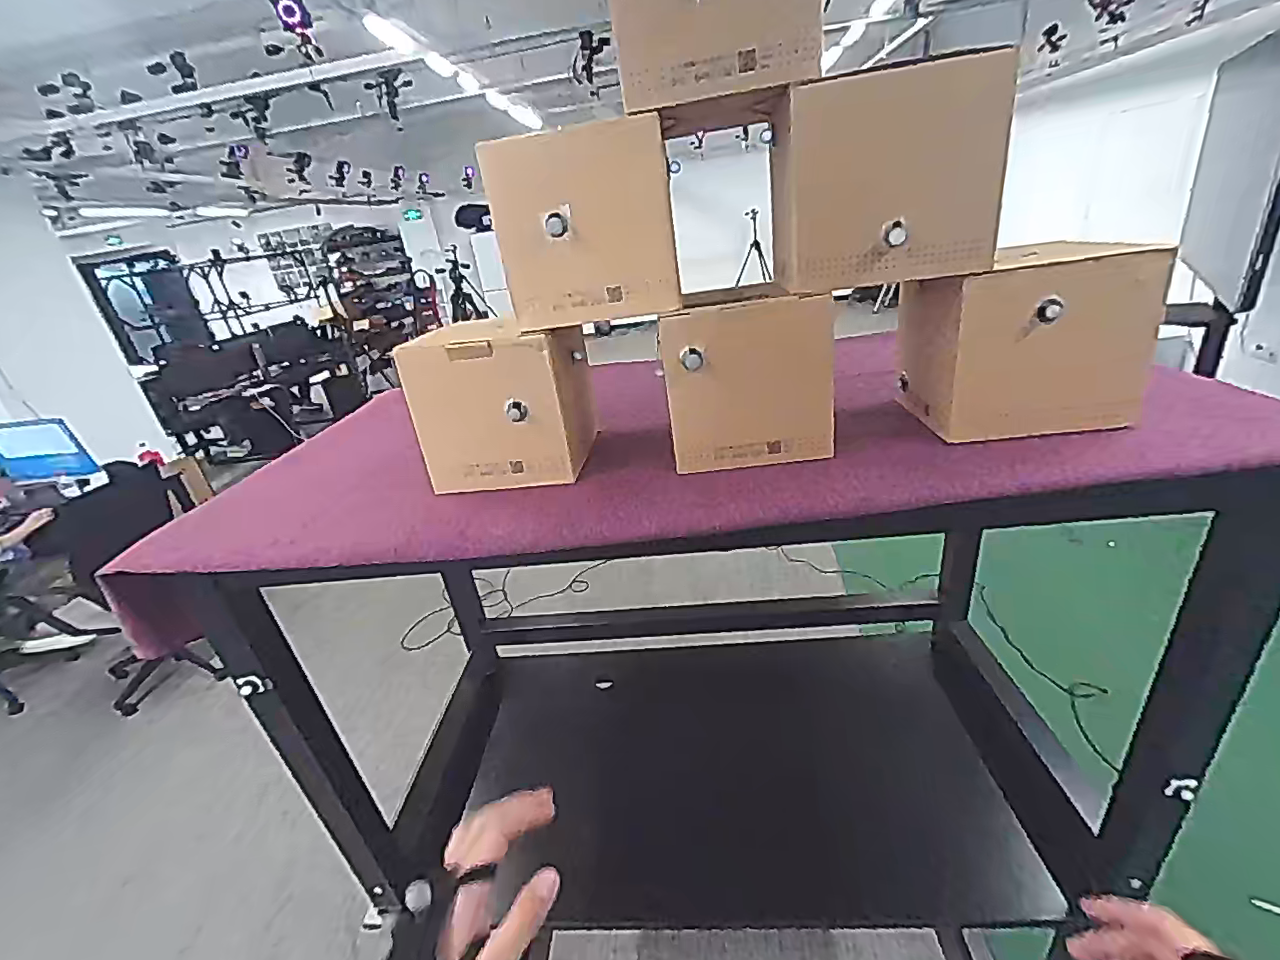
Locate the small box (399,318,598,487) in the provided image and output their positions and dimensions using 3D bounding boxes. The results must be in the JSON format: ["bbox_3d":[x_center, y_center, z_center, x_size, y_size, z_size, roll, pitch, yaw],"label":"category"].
[{"bbox_3d":[-0.152,-0.097,0.653,0.168,0.176,0.179,-4,24,8],"label":"small box"}]

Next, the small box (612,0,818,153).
[{"bbox_3d":[0.064,-0.422,0.501,0.168,0.176,0.179,-6,24,6],"label":"small box"}]

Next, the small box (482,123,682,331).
[{"bbox_3d":[-0.045,-0.259,0.584,0.168,0.176,0.179,-6,24,7],"label":"small box"}]

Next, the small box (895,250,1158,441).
[{"bbox_3d":[0.395,-0.148,0.593,0.179,0.176,0.168,-5,25,7],"label":"small box"}]
